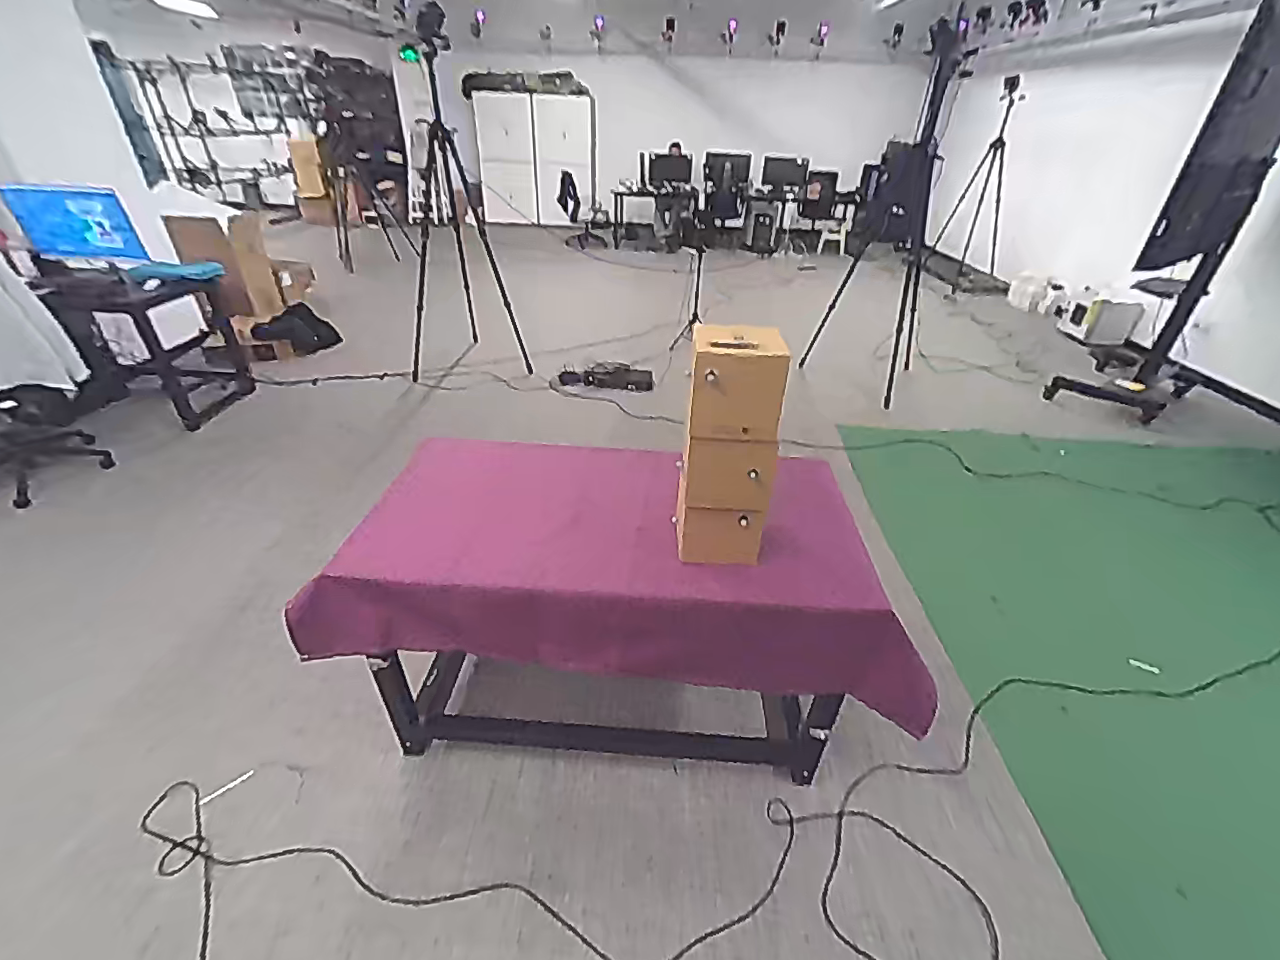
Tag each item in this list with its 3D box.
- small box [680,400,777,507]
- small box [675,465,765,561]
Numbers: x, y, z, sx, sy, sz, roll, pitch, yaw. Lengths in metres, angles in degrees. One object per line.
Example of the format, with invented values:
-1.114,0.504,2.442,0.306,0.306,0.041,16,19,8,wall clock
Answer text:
0.179,-0.056,1.151,0.179,0.176,0.168,3,32,2,small box
0.176,0.073,1.253,0.179,0.176,0.168,2,32,0,small box
